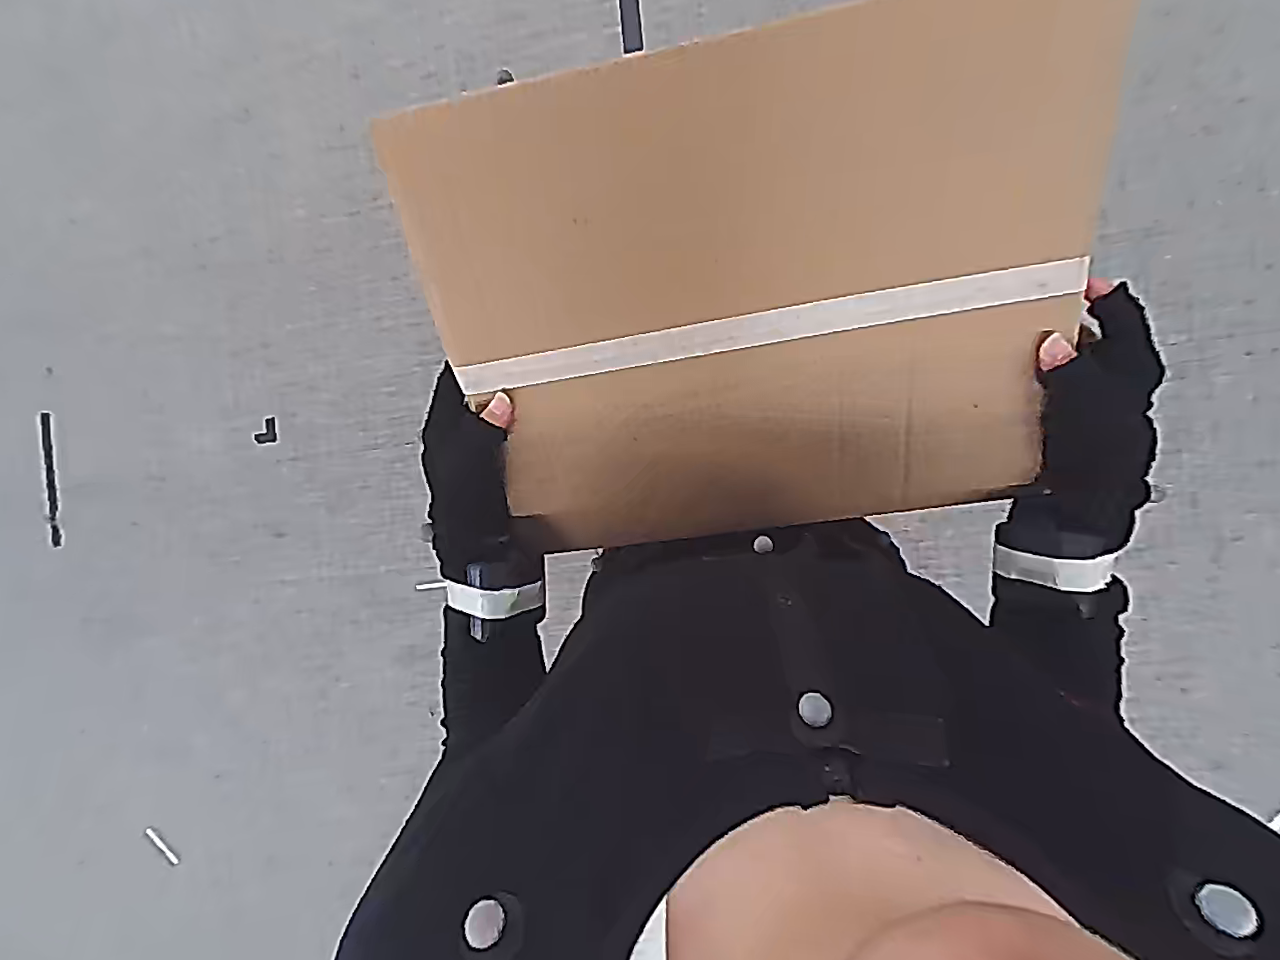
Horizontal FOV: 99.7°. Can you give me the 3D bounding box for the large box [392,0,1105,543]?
[{"bbox_3d":[0.076,-0.176,0.495,0.408,0.320,0.320,-8,119,7],"label":"large box"}]
